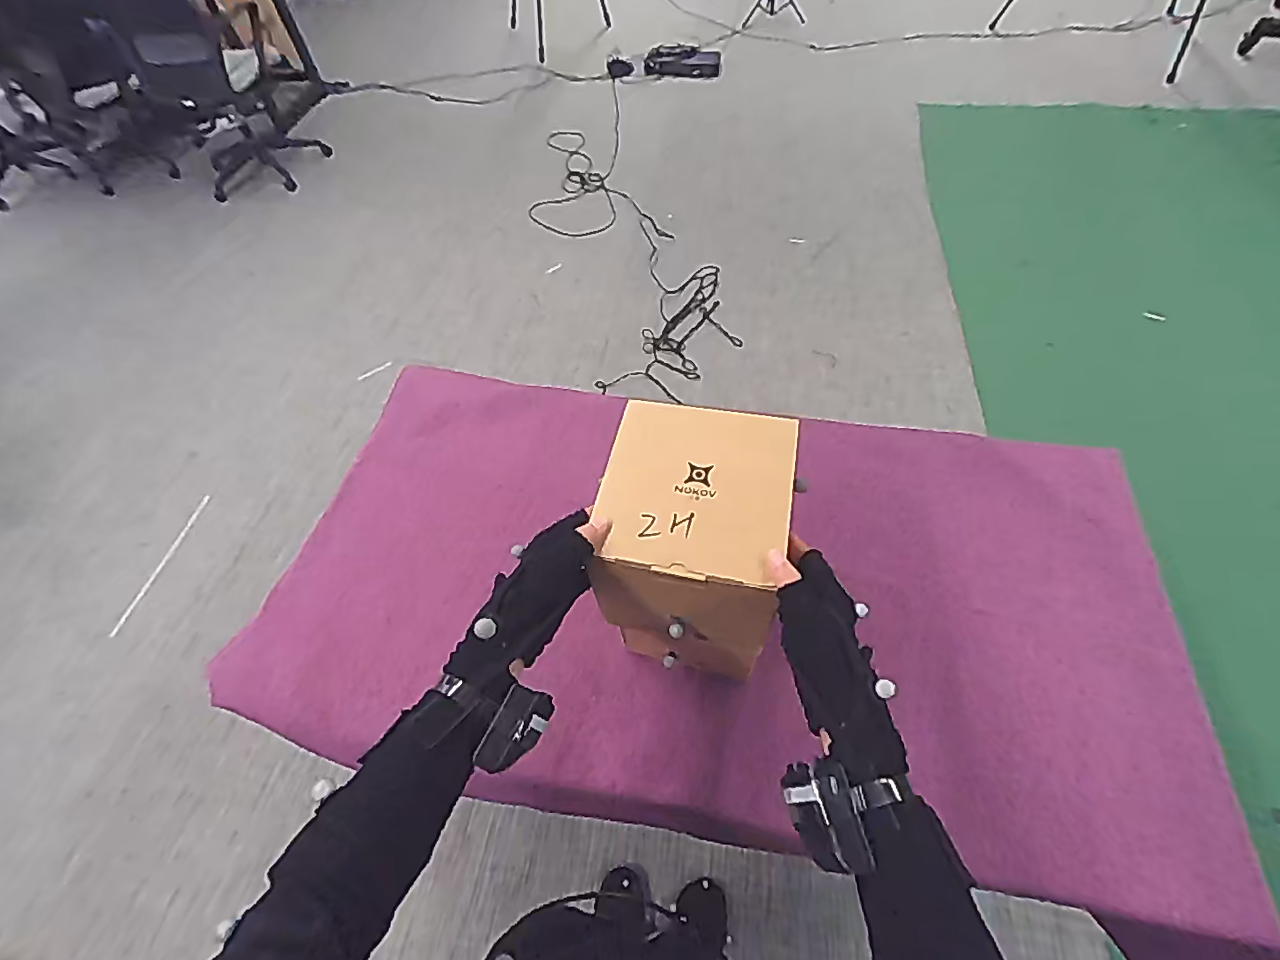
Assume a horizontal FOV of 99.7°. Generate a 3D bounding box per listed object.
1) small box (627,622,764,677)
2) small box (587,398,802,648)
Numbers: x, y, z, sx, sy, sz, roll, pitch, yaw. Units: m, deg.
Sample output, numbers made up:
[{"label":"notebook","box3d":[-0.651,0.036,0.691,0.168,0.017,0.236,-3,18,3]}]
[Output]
[{"label":"small box","box3d":[0.078,0.126,0.687,0.168,0.176,0.179,10,58,12]},{"label":"small box","box3d":[0.058,0.046,0.545,0.168,0.176,0.179,9,57,12]}]
